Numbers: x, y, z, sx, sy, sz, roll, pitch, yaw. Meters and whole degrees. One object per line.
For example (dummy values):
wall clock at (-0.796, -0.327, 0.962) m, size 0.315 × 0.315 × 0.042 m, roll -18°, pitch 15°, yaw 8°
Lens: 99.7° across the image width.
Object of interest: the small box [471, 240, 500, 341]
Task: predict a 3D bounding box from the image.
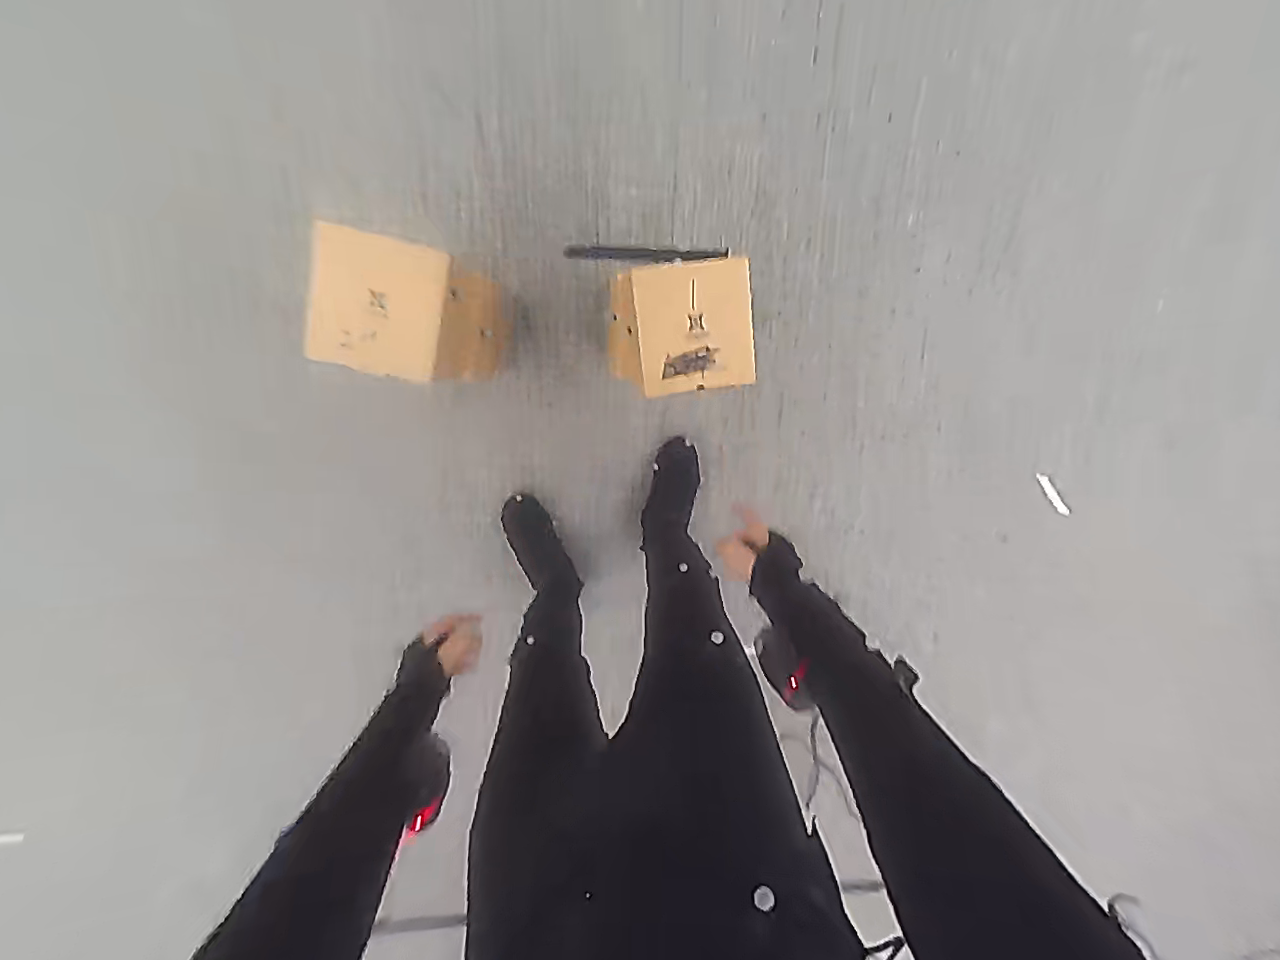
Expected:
small box at (-0.371, -0.370, 1.057) m, size 0.168 × 0.176 × 0.179 m, roll 4°, pitch 104°, yaw -6°

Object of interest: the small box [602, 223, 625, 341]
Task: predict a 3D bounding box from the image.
small box at (0.020, -0.335, 0.948) m, size 0.168 × 0.176 × 0.179 m, roll 0°, pitch 104°, yaw -8°

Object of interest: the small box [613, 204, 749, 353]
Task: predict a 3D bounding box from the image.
small box at (0.054, -0.287, 0.793) m, size 0.168 × 0.176 × 0.179 m, roll -8°, pitch 106°, yaw -6°
